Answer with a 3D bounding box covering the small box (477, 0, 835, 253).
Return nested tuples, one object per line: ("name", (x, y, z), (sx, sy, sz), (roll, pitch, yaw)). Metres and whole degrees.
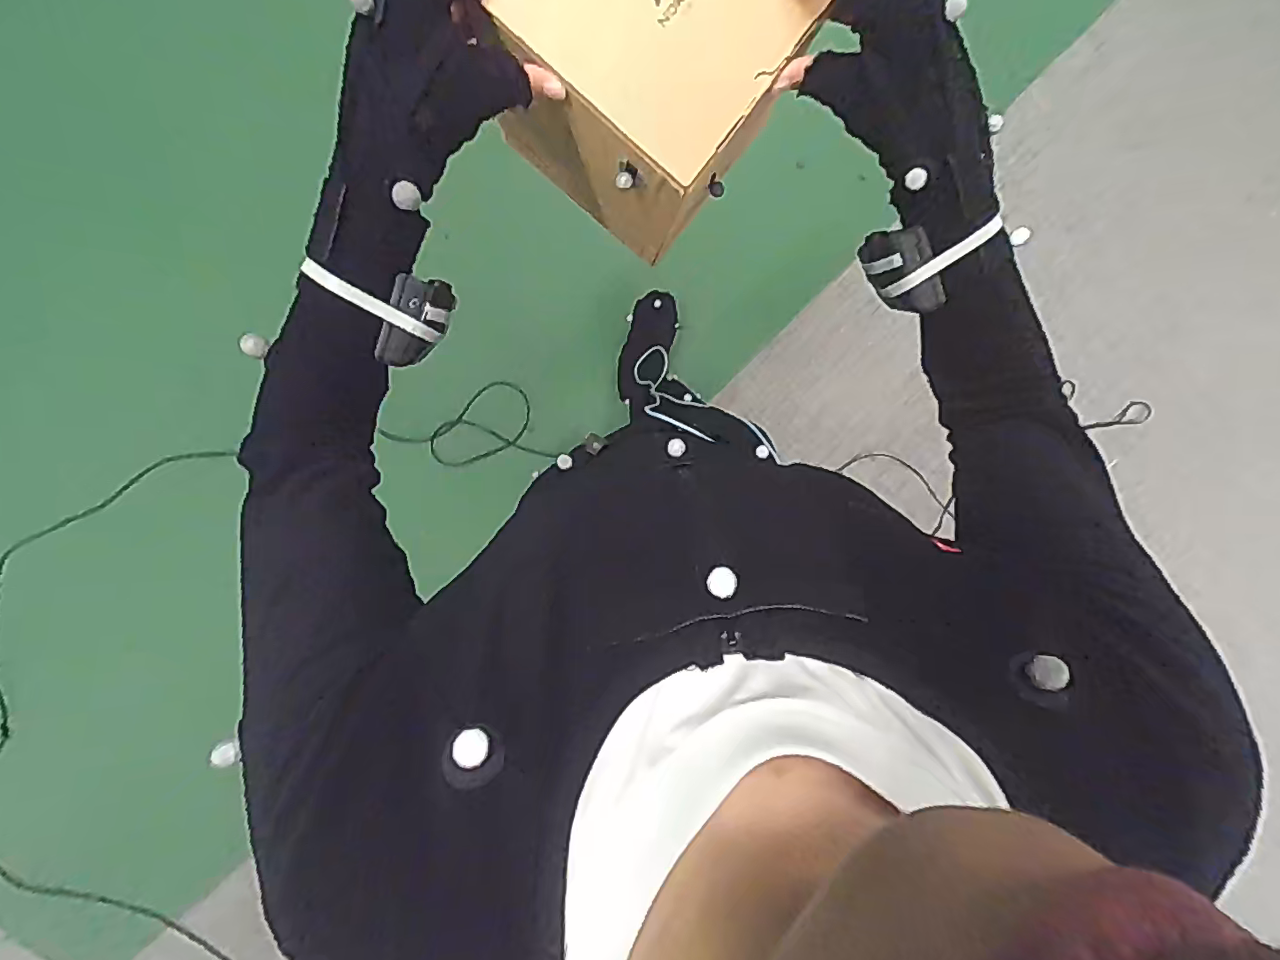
("small box", (0.002, -0.311, 0.418), (0.179, 0.176, 0.168), (38, 90, -10))
